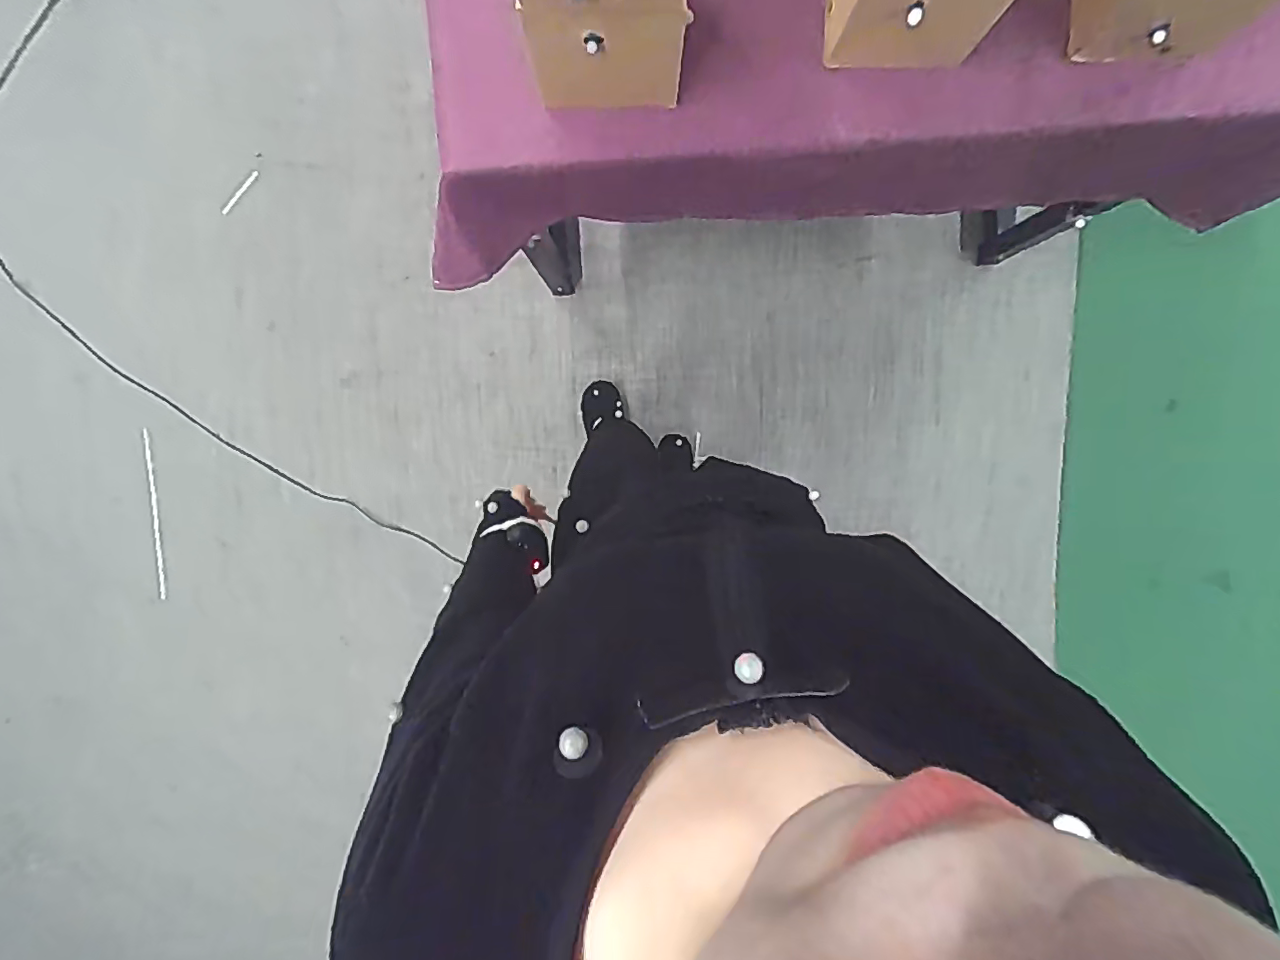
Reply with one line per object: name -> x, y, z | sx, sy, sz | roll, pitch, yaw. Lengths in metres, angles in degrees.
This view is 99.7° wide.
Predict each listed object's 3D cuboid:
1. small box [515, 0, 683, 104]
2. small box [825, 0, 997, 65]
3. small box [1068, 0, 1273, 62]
small box -> -0.040, -0.569, 0.626 | 0.179, 0.176, 0.168 | 0, 95, 0
small box -> 0.323, -0.614, 0.618 | 0.179, 0.176, 0.168 | 1, 95, 1
small box -> 0.634, -0.626, 0.615 | 0.168, 0.176, 0.179 | 2, 96, 1
